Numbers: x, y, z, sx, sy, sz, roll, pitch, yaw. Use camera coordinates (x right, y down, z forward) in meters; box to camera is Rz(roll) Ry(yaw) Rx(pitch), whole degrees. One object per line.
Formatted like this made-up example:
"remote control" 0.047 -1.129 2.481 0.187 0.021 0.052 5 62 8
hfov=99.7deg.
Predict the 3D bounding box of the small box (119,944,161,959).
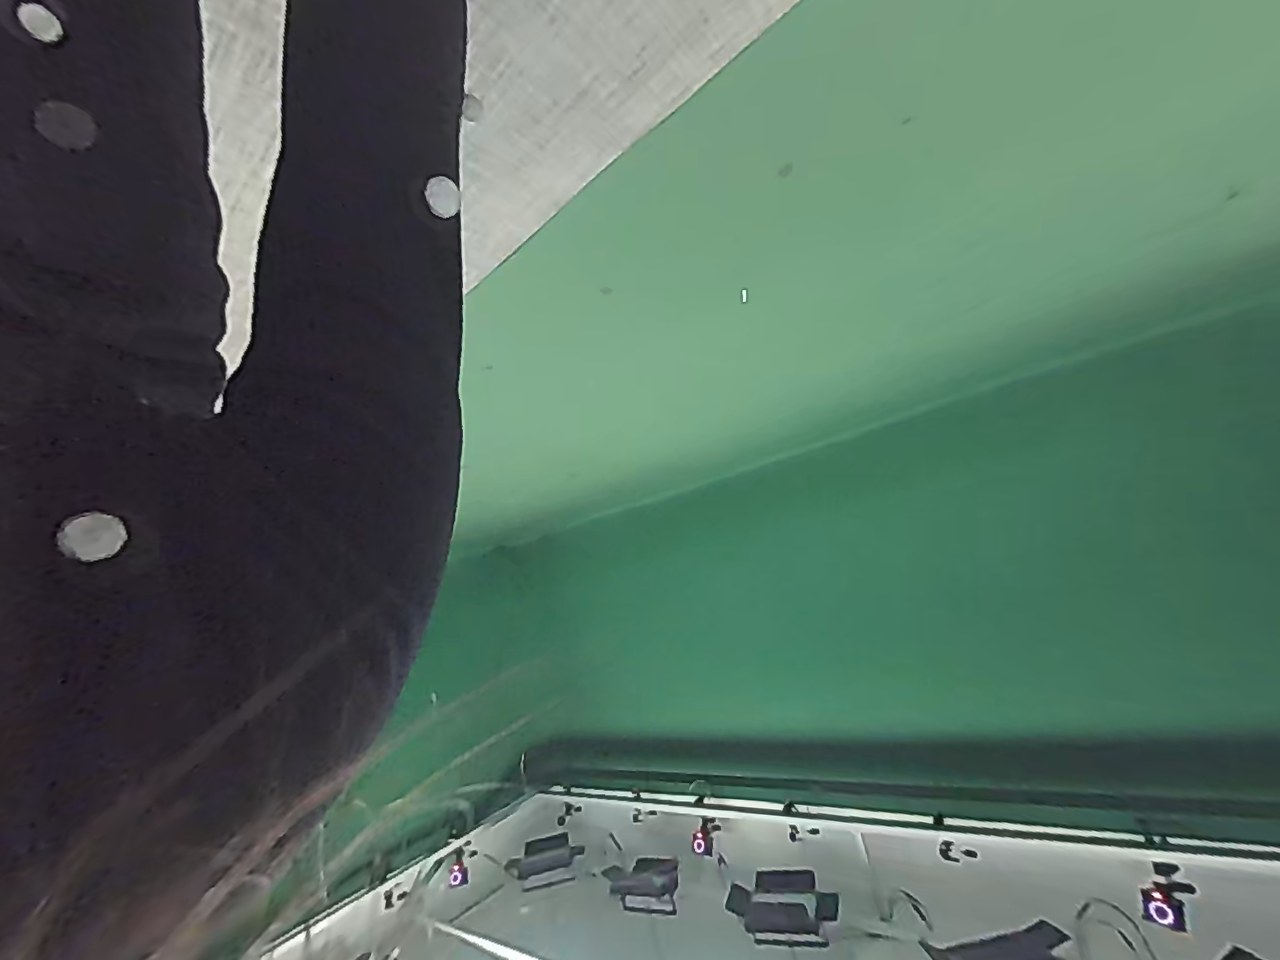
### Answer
"small box" -1.444 1.449 1.501 0.168 0.176 0.179 -1 164 -43
